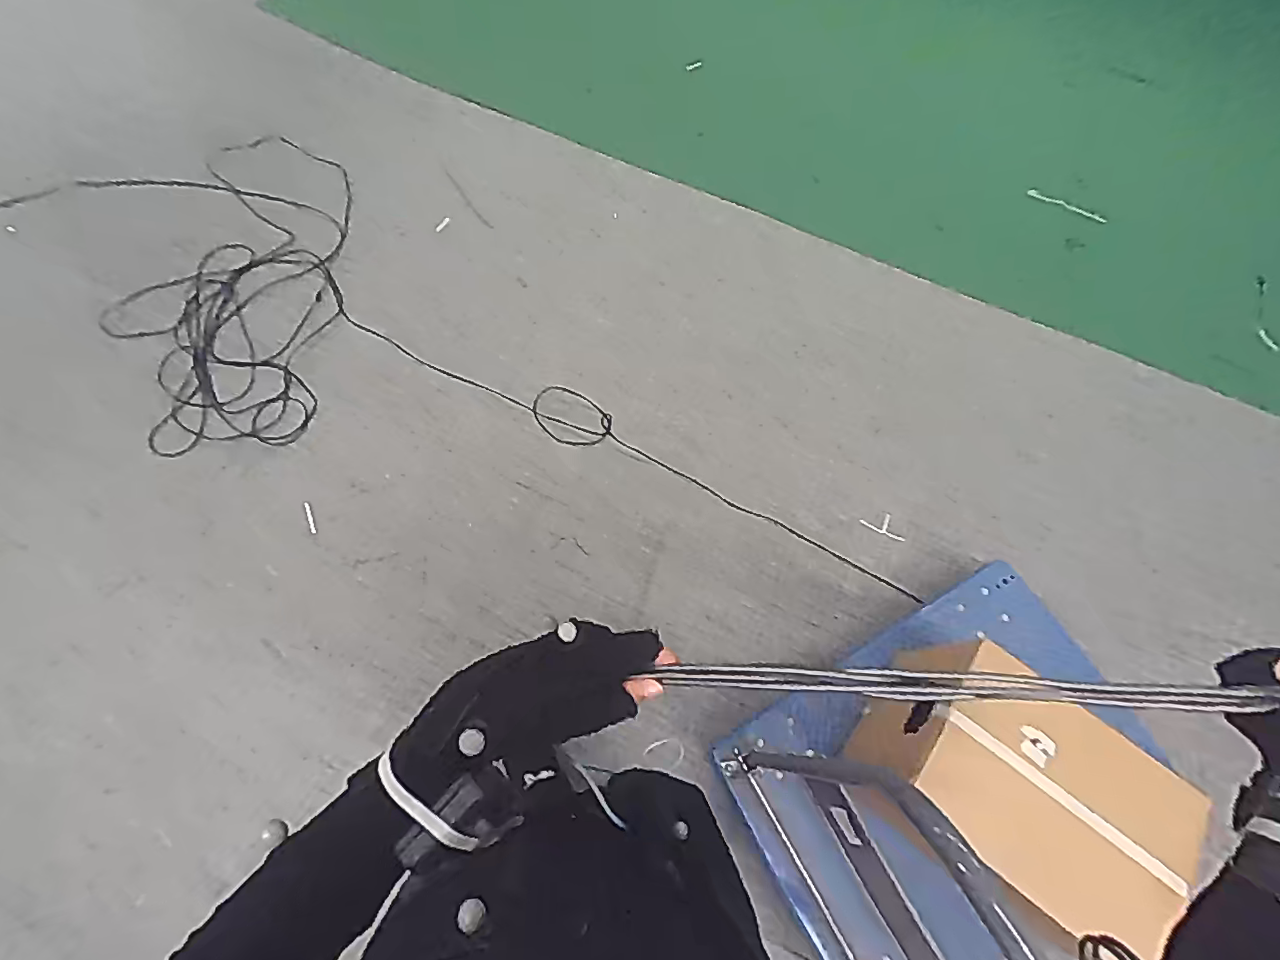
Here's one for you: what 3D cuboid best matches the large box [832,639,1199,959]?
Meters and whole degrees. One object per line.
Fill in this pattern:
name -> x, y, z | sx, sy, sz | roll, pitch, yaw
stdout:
large box -> 0.652, 0.557, 1.002 | 0.408, 0.320, 0.320 | 37, 69, 12
